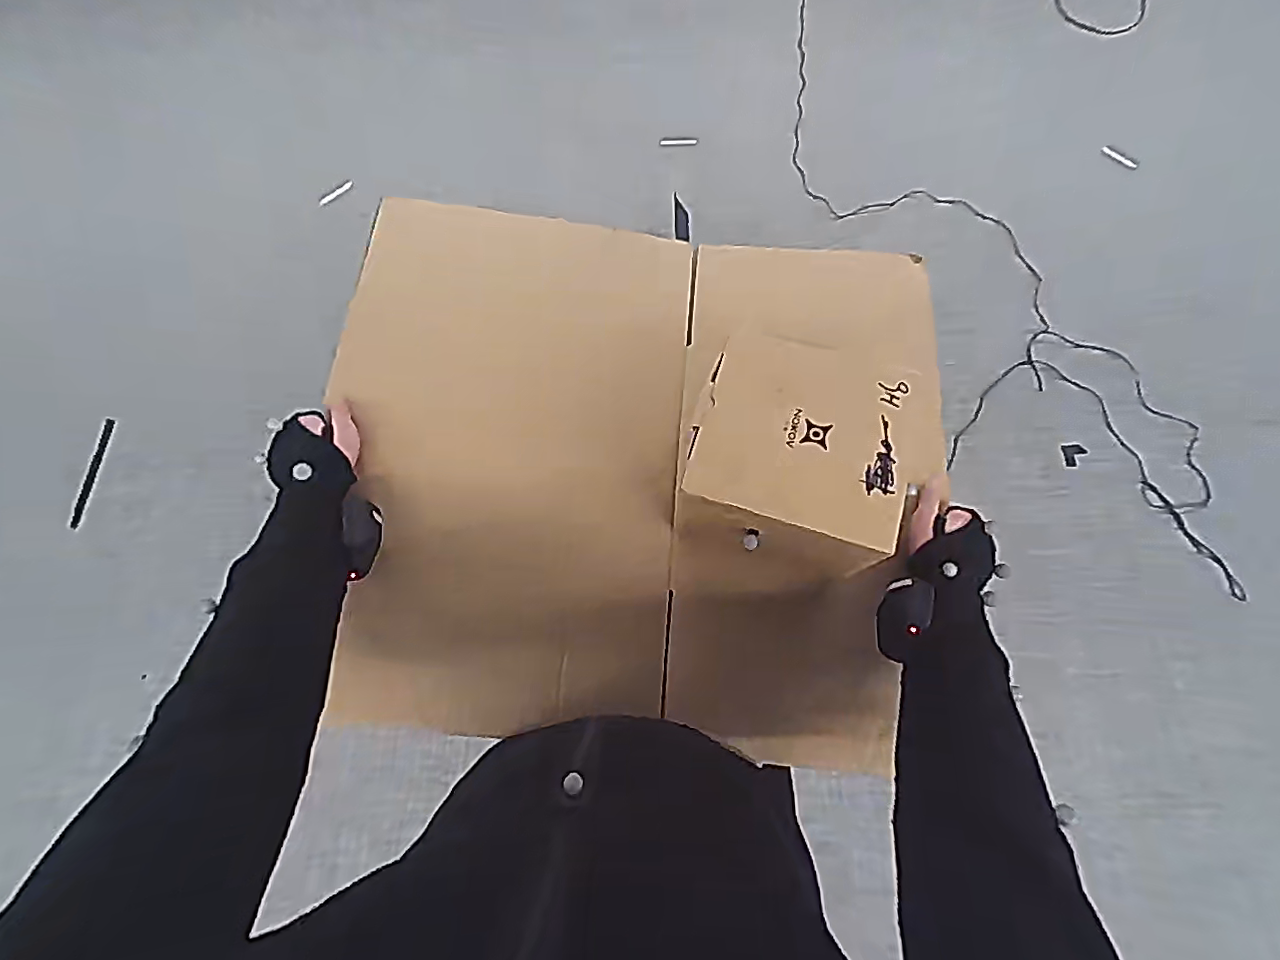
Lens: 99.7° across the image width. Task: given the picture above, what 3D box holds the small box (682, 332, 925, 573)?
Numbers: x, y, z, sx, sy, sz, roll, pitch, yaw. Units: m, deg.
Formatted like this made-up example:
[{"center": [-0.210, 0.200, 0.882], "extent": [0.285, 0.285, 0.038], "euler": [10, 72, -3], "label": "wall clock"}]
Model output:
[{"center": [0.148, -0.016, 0.537], "extent": [0.179, 0.176, 0.168], "euler": [16, 74, 10], "label": "small box"}]
